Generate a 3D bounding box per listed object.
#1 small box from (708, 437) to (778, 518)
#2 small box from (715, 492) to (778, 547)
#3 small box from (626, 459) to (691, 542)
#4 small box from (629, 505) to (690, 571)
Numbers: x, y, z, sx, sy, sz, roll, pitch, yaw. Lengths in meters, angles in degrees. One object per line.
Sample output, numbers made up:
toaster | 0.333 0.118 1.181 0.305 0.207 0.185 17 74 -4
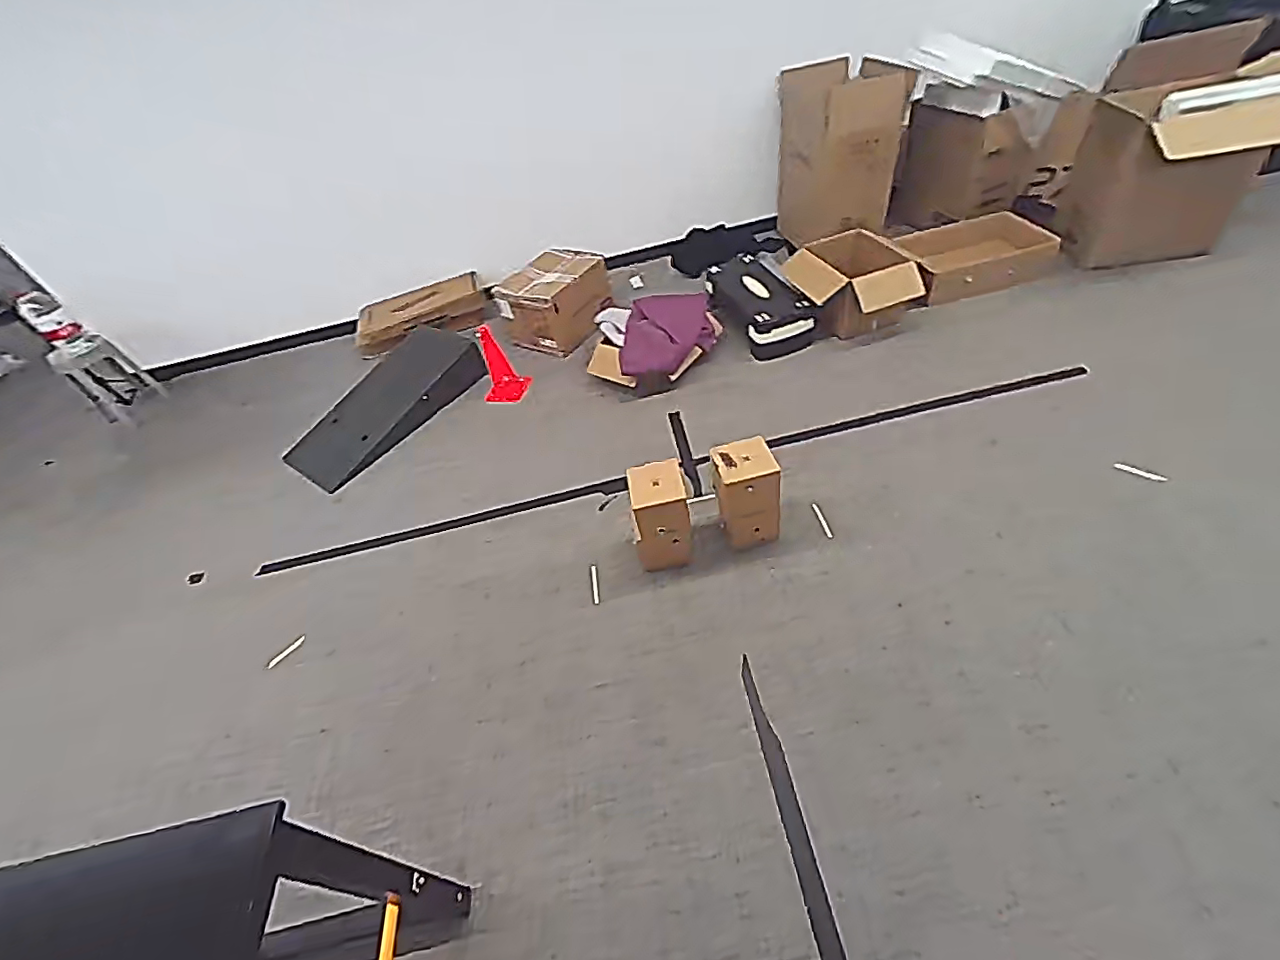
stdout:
small box | 0.324 -0.004 1.695 0.179 0.176 0.168 -15 45 -2
small box | 0.358 0.105 1.815 0.168 0.176 0.179 -15 46 -1
small box | 0.057 0.067 1.691 0.168 0.176 0.179 -13 46 2
small box | 0.069 0.179 1.809 0.179 0.176 0.168 -13 45 2
